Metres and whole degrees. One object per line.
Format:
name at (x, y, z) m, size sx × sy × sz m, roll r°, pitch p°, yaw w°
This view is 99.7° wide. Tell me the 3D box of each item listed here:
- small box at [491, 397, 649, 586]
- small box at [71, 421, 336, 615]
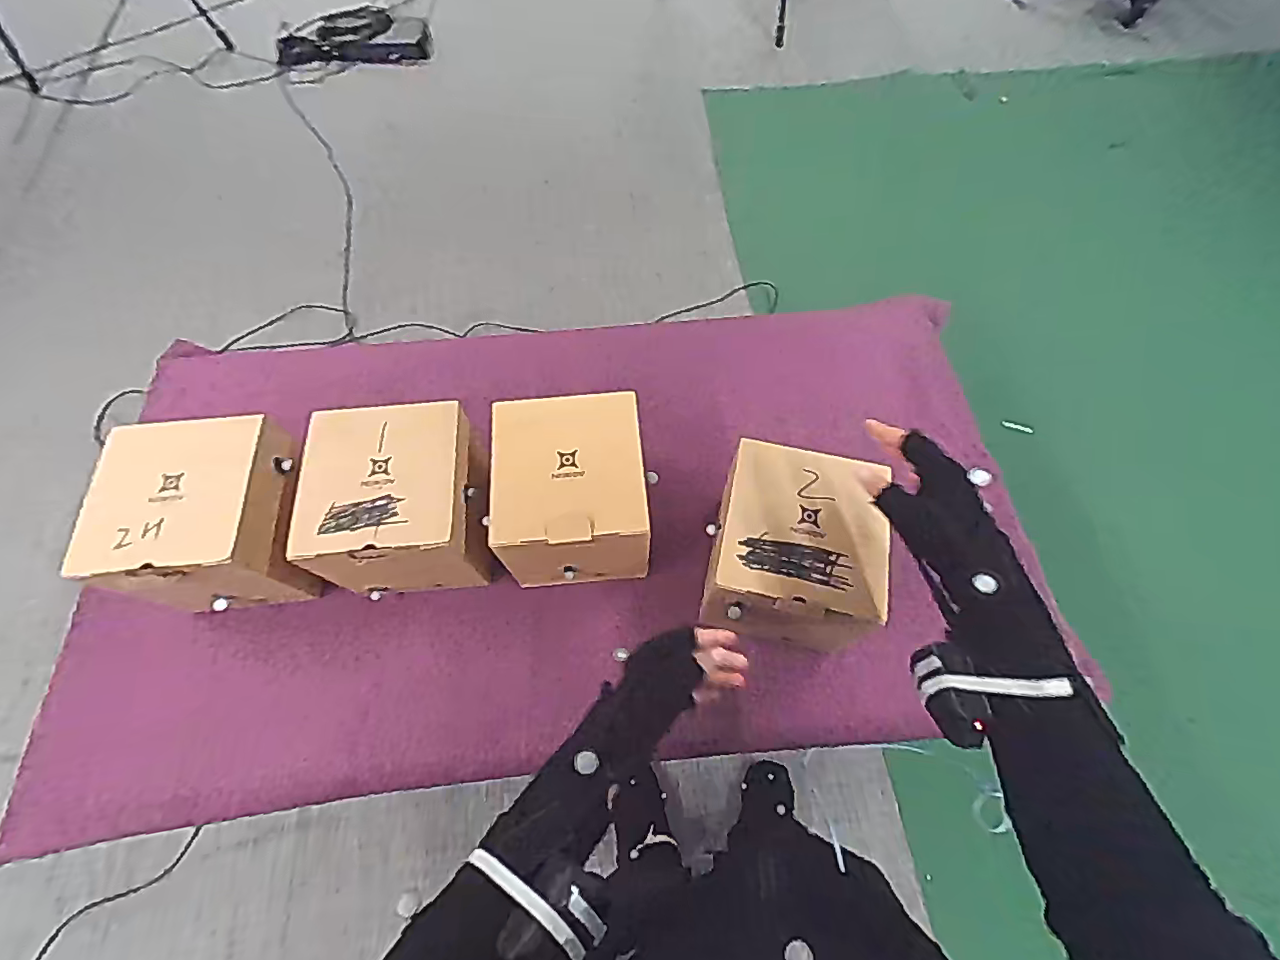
small box at (-0.080, 0.020, 0.665) m, size 0.168 × 0.176 × 0.179 m, roll -5°, pitch 66°, yaw -2°
small box at (-0.493, 0.051, 0.648) m, size 0.168 × 0.176 × 0.179 m, roll -6°, pitch 65°, yaw -2°
